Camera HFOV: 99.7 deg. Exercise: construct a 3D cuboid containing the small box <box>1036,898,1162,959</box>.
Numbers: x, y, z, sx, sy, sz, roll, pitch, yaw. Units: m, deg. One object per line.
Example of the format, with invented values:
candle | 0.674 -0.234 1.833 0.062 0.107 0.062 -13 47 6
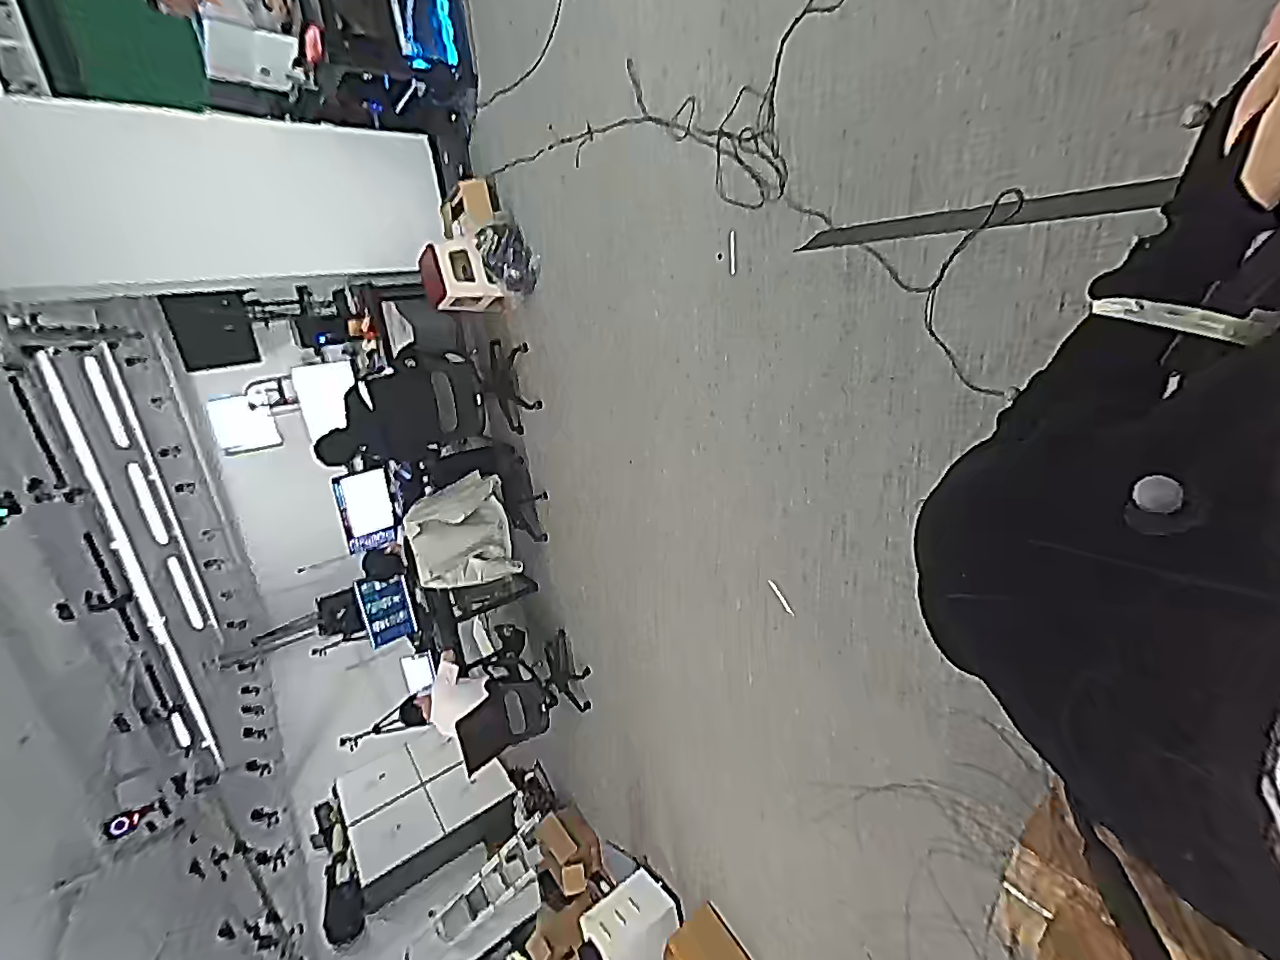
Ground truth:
small box | 0.985 1.069 1.167 0.179 0.176 0.168 18 119 52
